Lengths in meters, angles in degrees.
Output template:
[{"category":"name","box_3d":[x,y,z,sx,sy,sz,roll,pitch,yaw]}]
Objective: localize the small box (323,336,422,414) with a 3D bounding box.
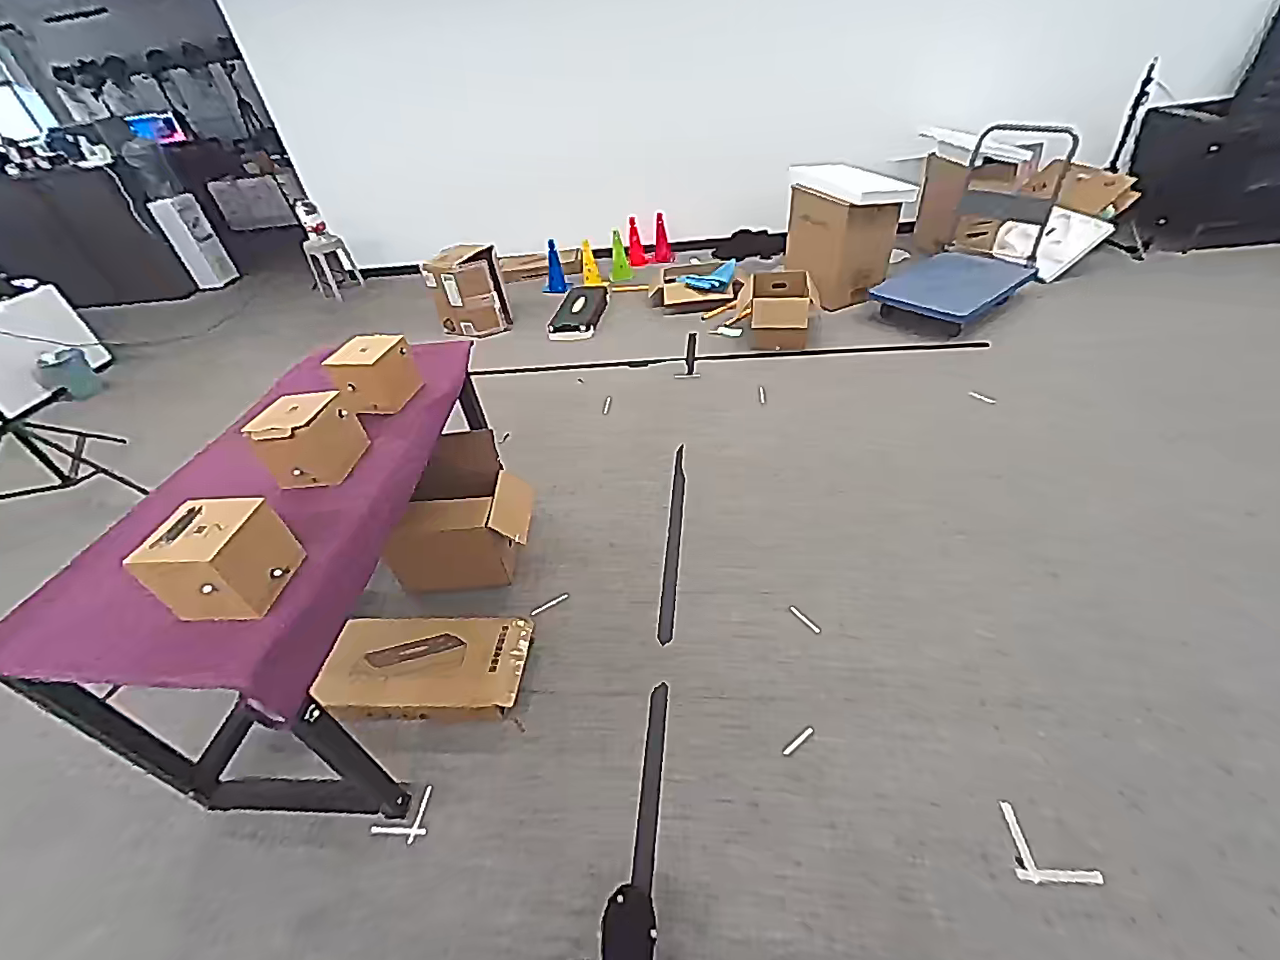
[{"category":"small box","box_3d":[-0.773,-0.304,1.586,0.168,0.176,0.179,2,40,12]}]

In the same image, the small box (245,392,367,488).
[{"category":"small box","box_3d":[-0.816,-0.099,1.347,0.168,0.176,0.179,-5,40,8]}]
